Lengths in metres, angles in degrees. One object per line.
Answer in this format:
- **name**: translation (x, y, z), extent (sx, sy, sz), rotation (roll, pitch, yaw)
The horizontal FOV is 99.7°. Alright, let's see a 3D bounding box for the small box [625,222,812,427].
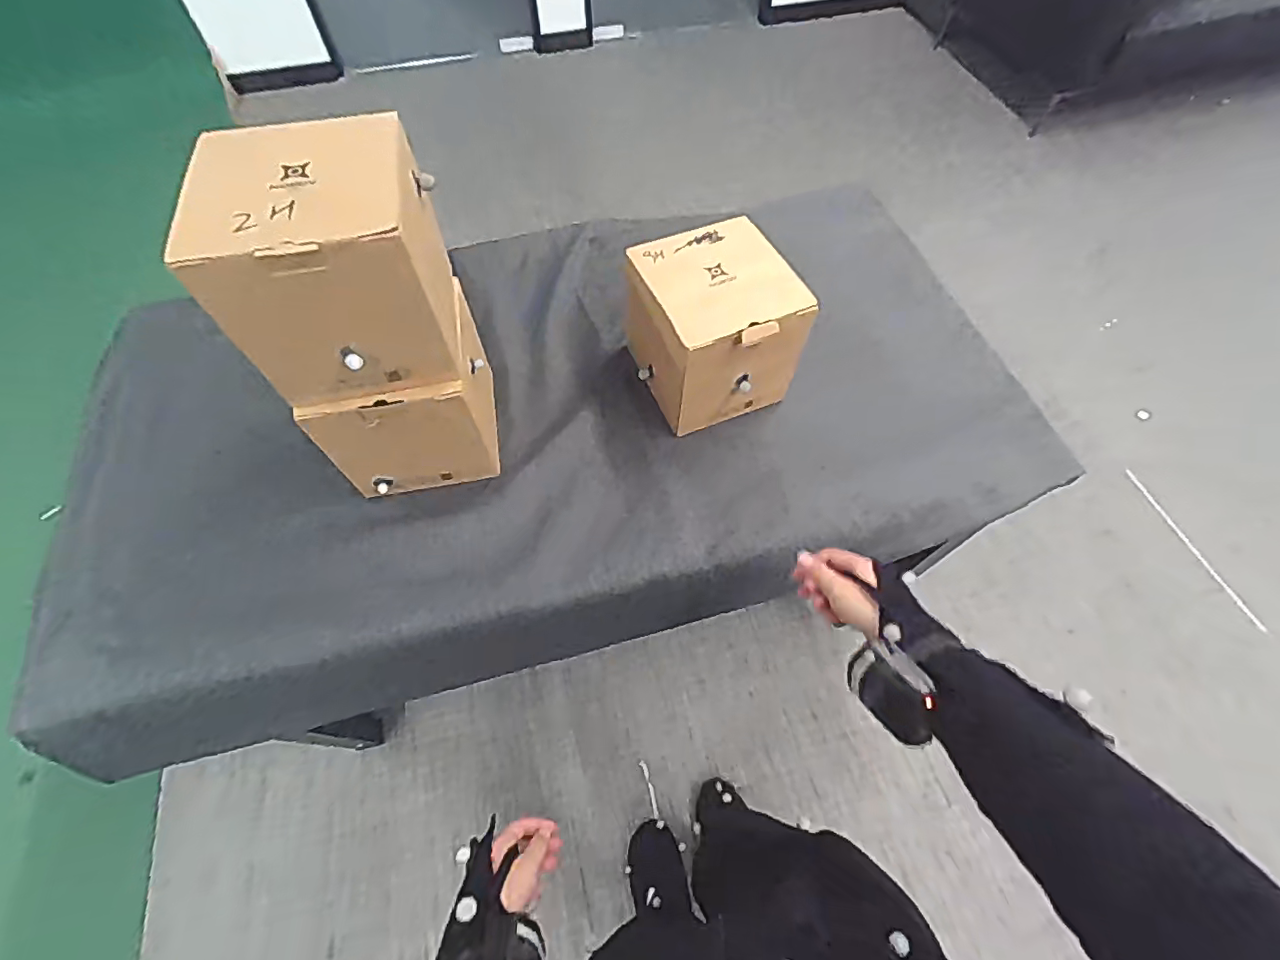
- **small box**: translation (0.089, -0.189, 0.696), extent (0.168, 0.176, 0.179), rotation (-20, 63, -11)

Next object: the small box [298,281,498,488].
- **small box**: translation (-0.271, -0.104, 0.646), extent (0.168, 0.176, 0.179), rotation (-9, 60, -6)

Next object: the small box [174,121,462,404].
- **small box**: translation (-0.276, -0.199, 0.510), extent (0.168, 0.176, 0.179), rotation (-12, 61, -6)
